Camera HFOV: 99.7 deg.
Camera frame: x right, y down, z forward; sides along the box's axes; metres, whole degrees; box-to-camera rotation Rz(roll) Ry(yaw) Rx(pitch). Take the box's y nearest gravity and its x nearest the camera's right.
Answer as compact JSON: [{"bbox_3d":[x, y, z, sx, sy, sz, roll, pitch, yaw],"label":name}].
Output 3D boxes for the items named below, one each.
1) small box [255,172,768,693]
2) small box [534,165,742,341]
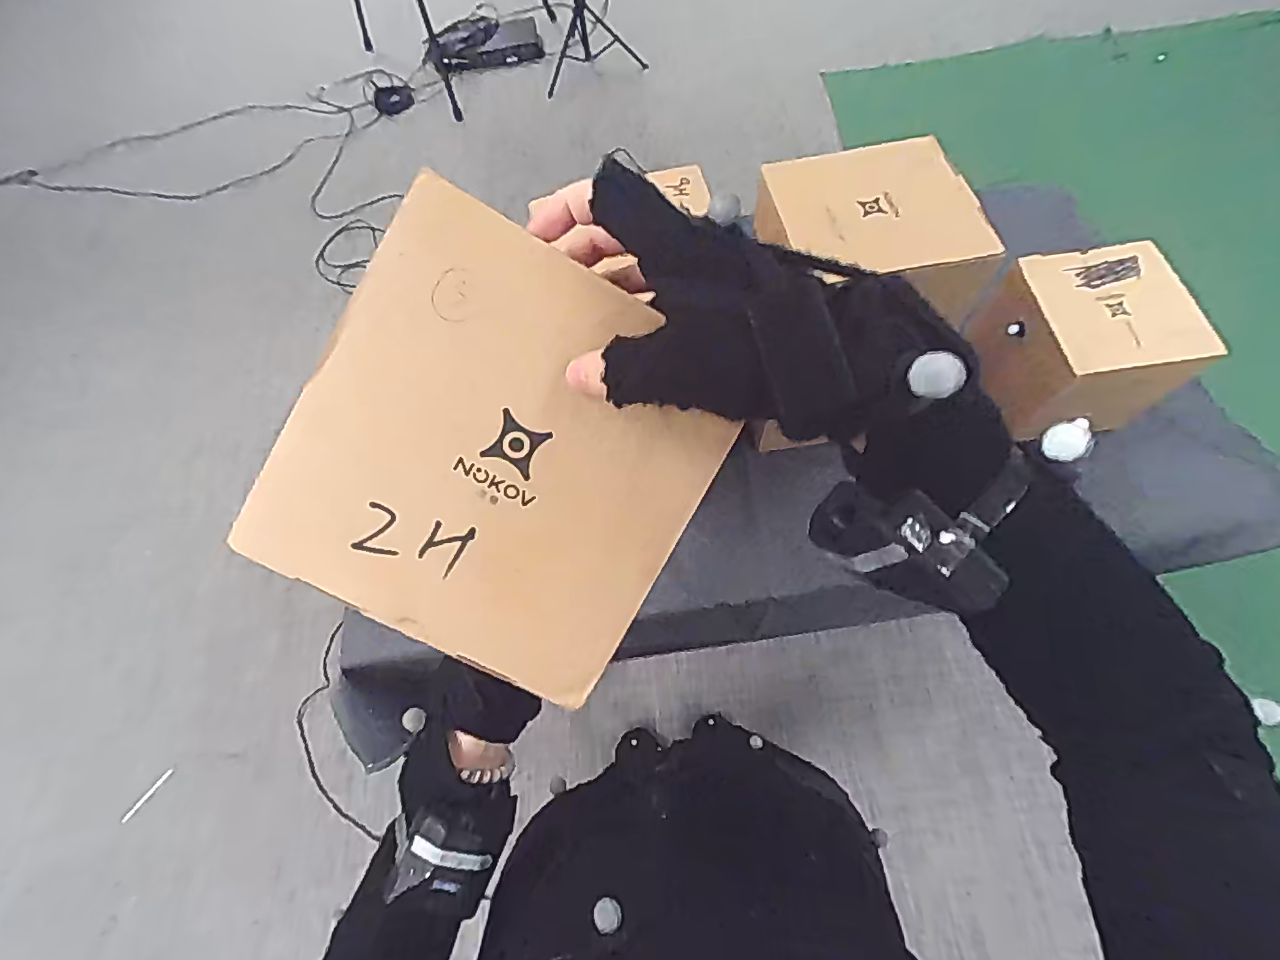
[{"bbox_3d":[-0.061,-0.023,0.313,0.168,0.176,0.179,28,93,-8],"label":"small box"},{"bbox_3d":[0.001,-0.192,0.582,0.179,0.176,0.168,-13,67,0],"label":"small box"}]
